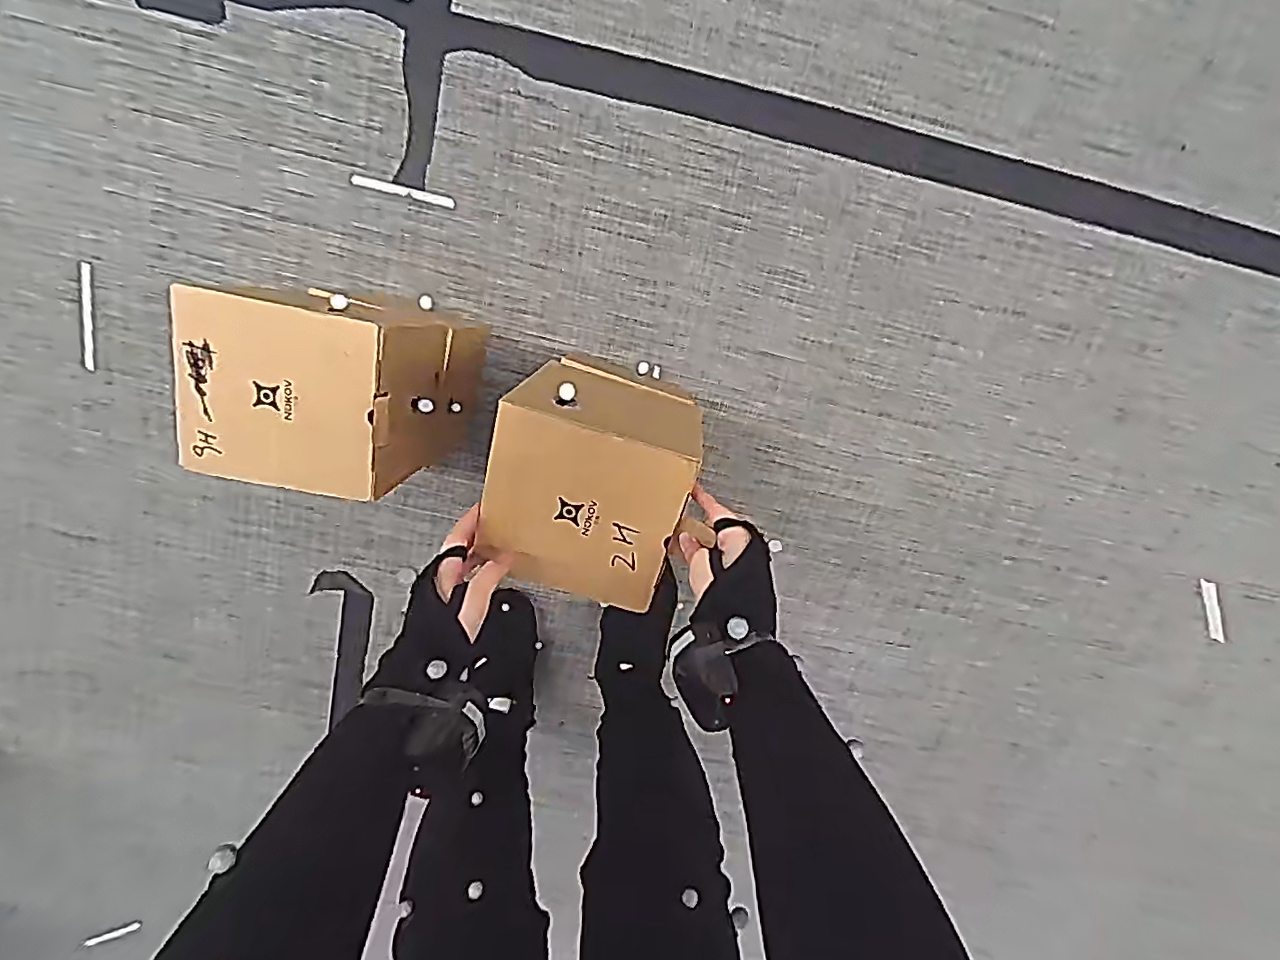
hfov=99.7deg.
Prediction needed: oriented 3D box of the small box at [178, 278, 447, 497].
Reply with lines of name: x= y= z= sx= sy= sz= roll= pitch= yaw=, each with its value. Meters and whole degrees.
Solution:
small box: x=-0.310 y=-0.098 z=0.547 sx=0.179 sy=0.176 sz=0.168 roll=11 pitch=106 yaw=-5

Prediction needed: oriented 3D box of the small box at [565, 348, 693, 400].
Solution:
small box: x=-0.036 y=-0.066 z=0.733 sx=0.168 sy=0.176 sz=0.179 roll=19 pitch=105 yaw=-7

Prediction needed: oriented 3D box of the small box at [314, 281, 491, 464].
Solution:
small box: x=-0.307 y=-0.142 z=0.705 sx=0.168 sy=0.176 sz=0.179 roll=16 pitch=106 yaw=-5

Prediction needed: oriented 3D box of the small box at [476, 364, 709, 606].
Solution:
small box: x=-0.040 y=-0.008 z=0.545 sx=0.179 sy=0.176 sz=0.168 roll=17 pitch=114 yaw=-2
